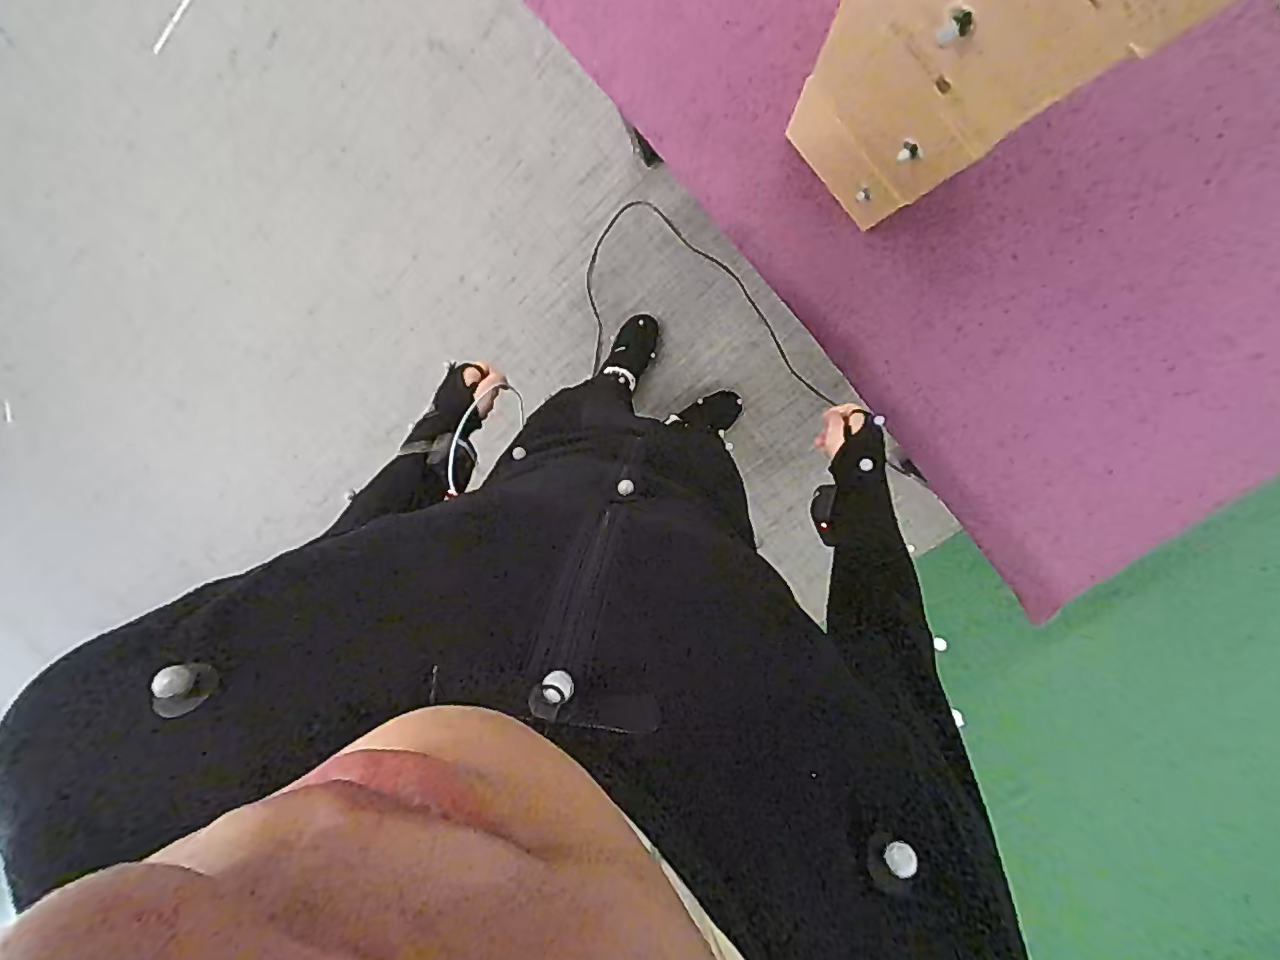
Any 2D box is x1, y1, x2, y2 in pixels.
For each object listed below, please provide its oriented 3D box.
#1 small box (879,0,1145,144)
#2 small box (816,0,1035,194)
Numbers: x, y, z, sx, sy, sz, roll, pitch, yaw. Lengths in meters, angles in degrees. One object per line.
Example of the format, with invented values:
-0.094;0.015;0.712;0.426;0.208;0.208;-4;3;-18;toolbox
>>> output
0.279;-0.361;0.342;0.179;0.176;0.168;-42;97;15;small box
0.293;-0.397;0.500;0.168;0.176;0.179;-40;96;14;small box
